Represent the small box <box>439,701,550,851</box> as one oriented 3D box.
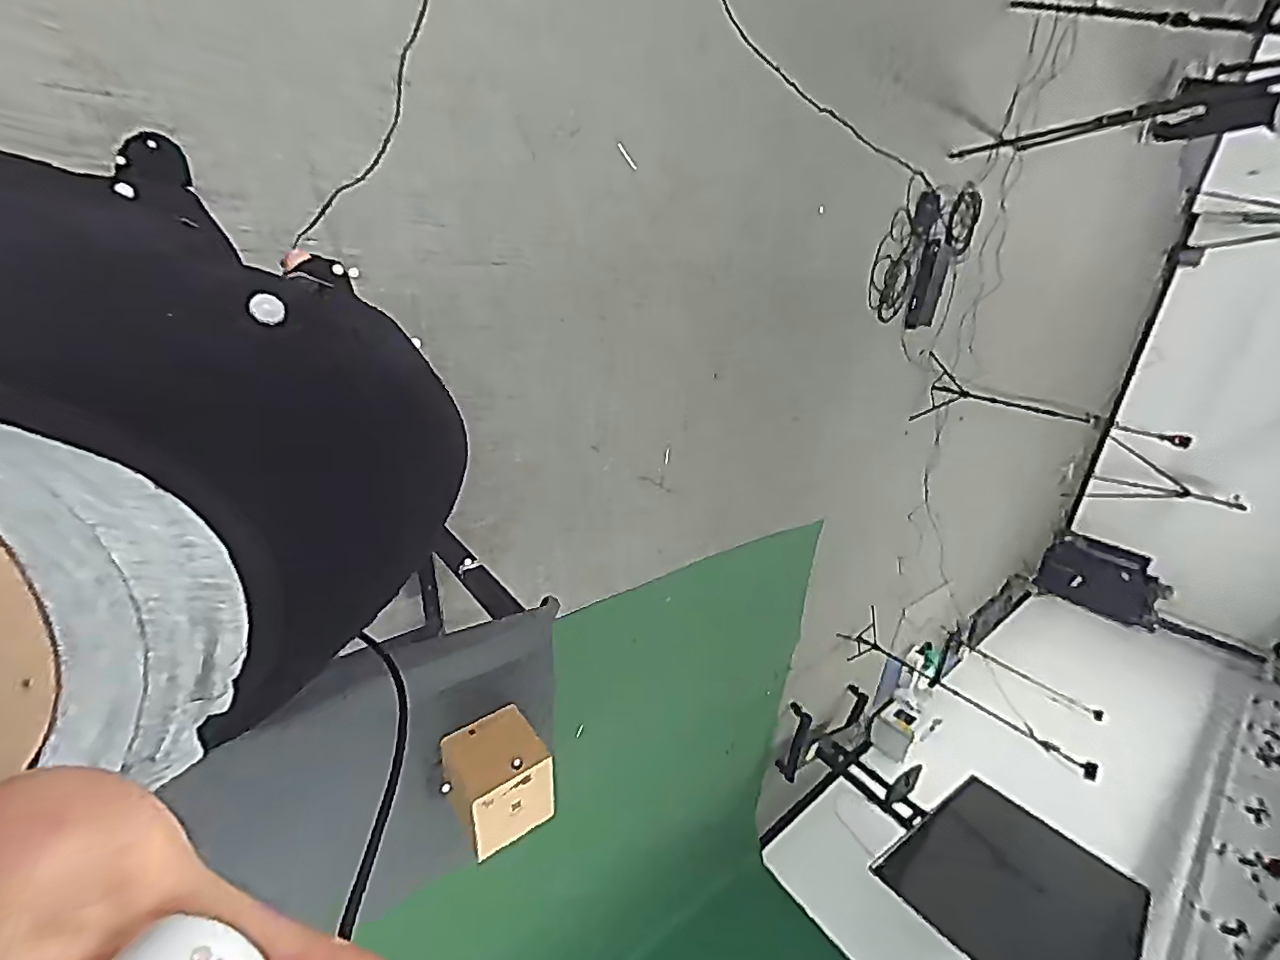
[{"bbox_3d":[-0.301,0.601,1.118,0.168,0.176,0.179,-17,122,-37],"label":"small box"}]
